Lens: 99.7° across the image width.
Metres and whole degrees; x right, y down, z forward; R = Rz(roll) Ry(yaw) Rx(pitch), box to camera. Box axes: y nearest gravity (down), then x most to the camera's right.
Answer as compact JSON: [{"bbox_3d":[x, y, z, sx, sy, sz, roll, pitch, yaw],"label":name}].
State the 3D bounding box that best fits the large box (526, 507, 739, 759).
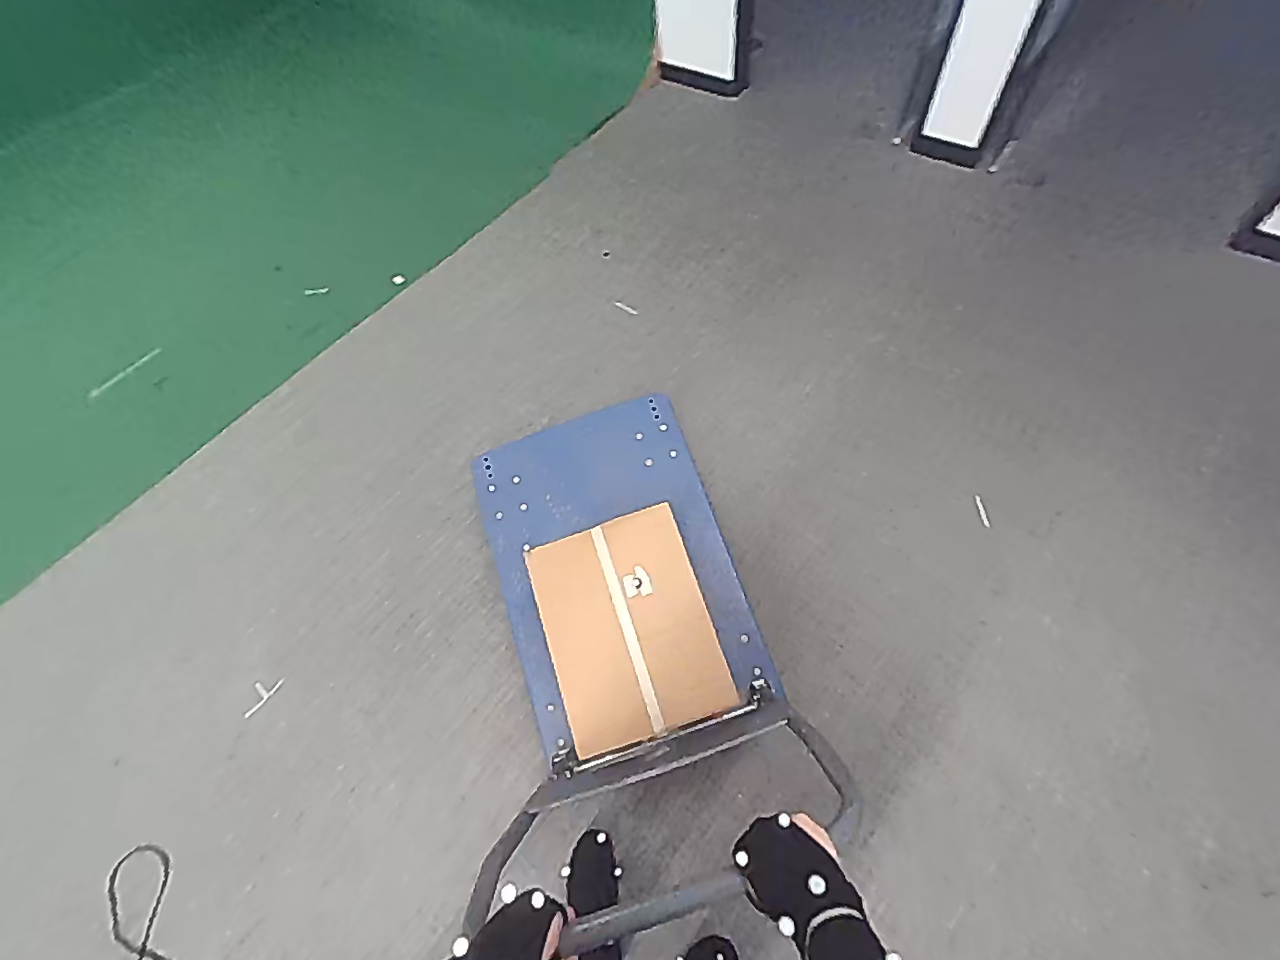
[{"bbox_3d":[-0.009,0.326,1.181,0.320,0.320,0.408,-19,72,-1],"label":"large box"}]
